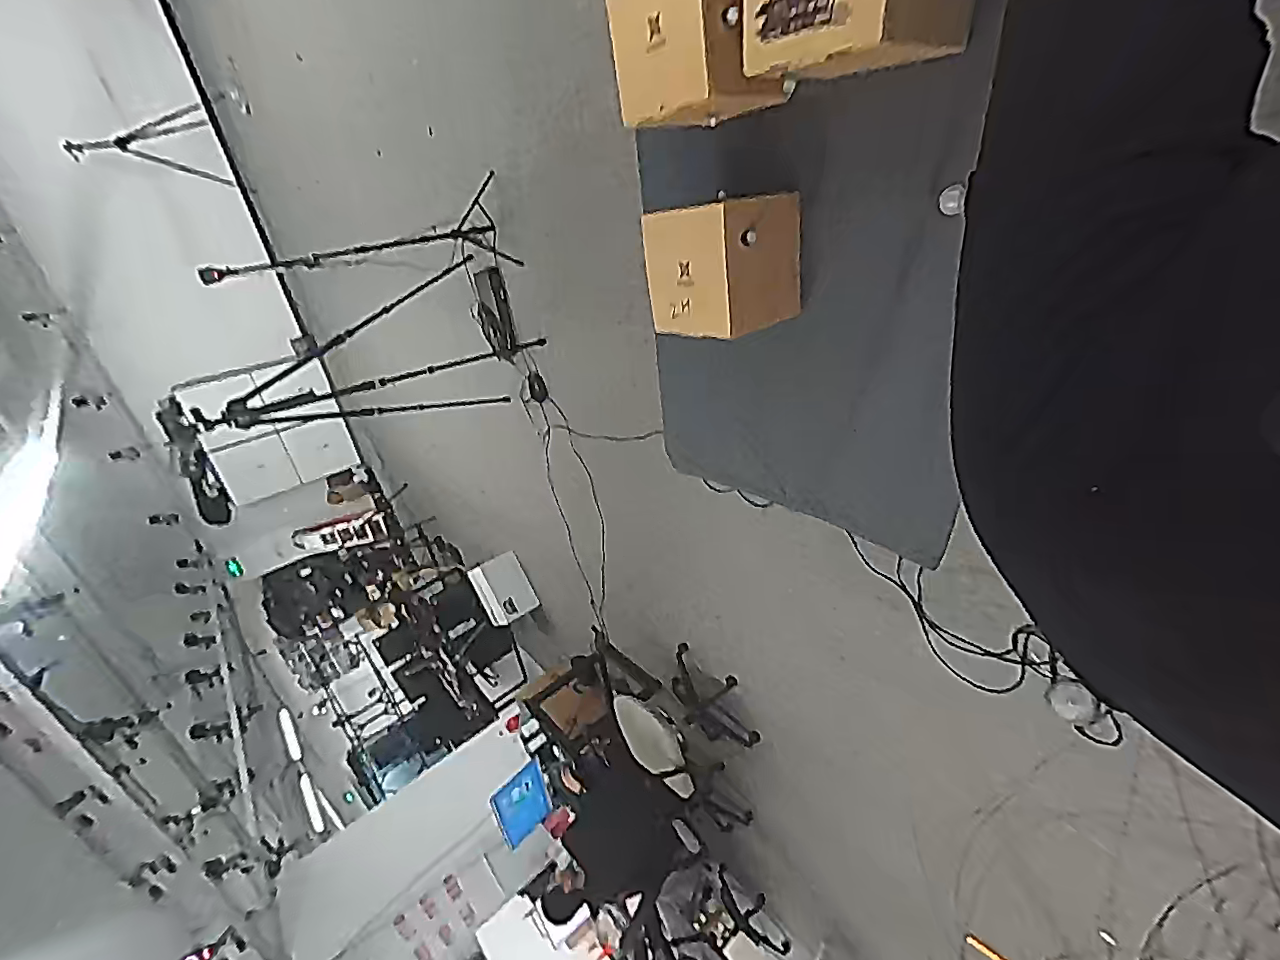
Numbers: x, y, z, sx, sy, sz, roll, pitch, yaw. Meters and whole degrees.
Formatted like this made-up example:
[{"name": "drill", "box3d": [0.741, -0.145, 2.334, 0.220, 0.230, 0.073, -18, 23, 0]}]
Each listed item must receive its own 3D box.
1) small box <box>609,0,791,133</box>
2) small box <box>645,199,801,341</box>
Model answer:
[{"name": "small box", "box3d": [0.083, -0.582, 0.717, 0.168, 0.176, 0.179, 20, 130, 47]}, {"name": "small box", "box3d": [0.132, -0.326, 0.833, 0.168, 0.176, 0.179, 22, 130, 47]}]
